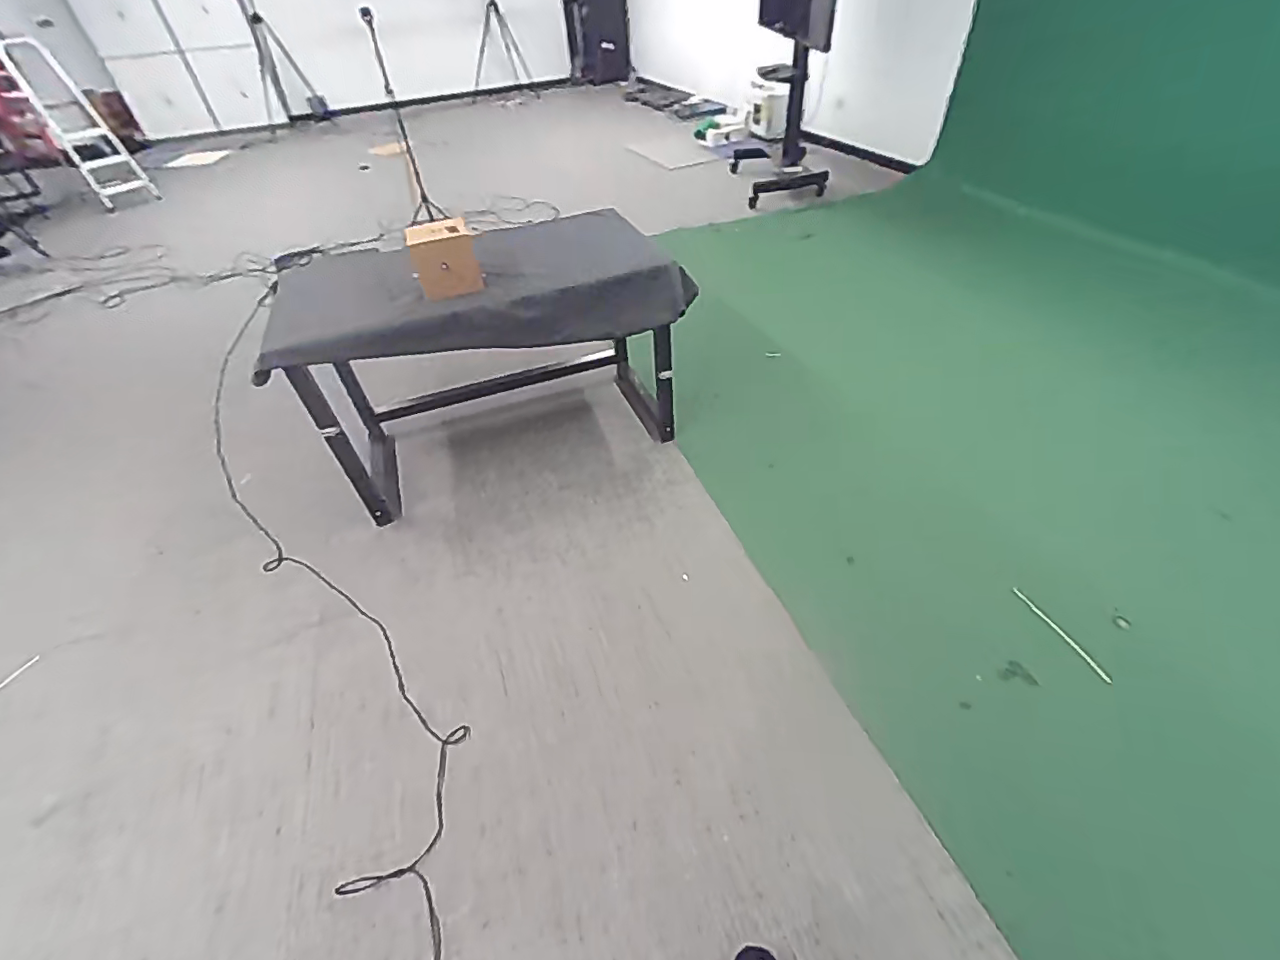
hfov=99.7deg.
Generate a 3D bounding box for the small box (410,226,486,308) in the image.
[{"bbox_3d":[-0.577,-0.645,1.640,0.179,0.176,0.168,-18,44,-11],"label":"small box"}]
